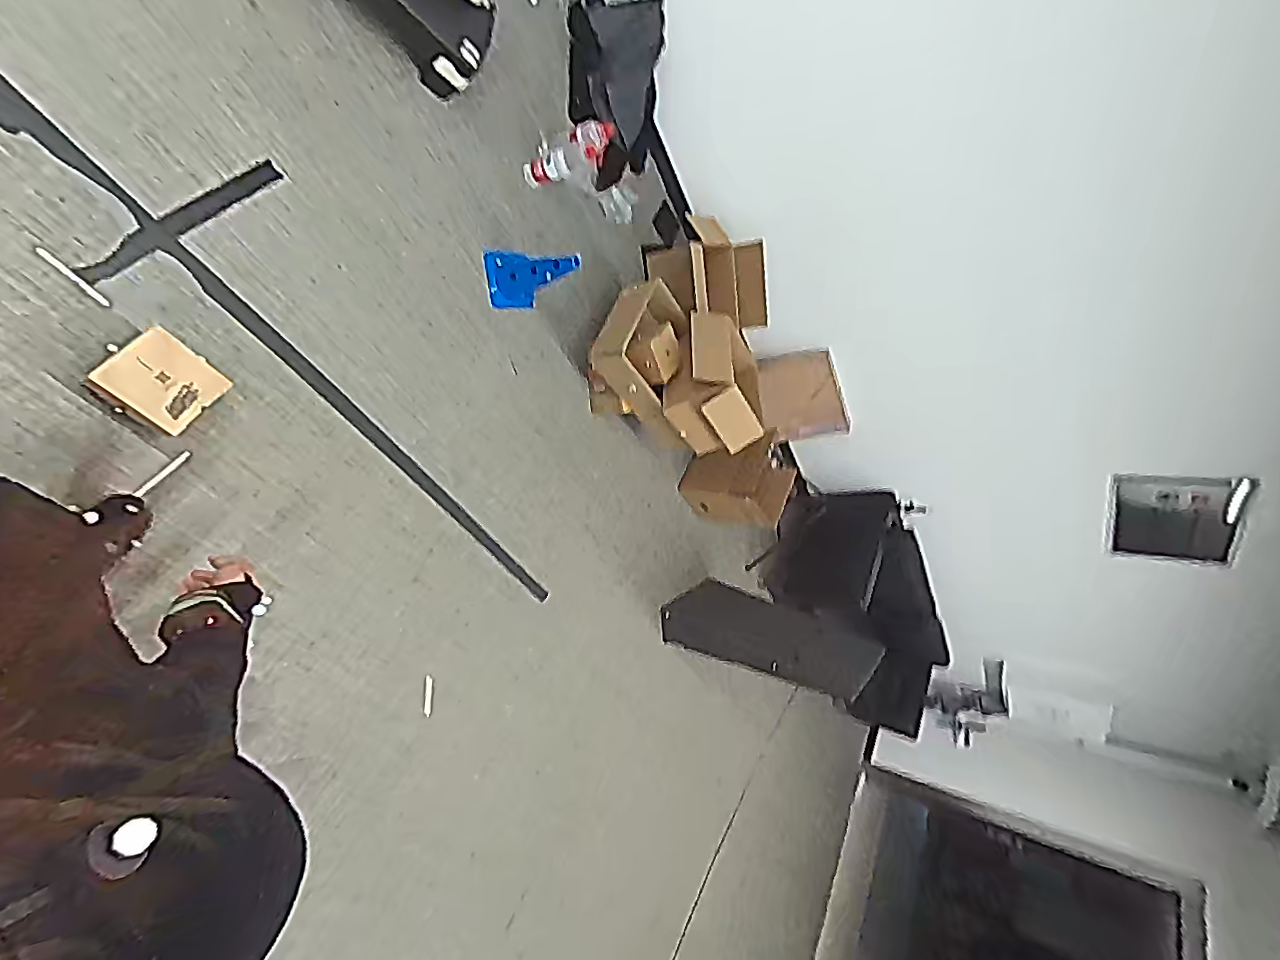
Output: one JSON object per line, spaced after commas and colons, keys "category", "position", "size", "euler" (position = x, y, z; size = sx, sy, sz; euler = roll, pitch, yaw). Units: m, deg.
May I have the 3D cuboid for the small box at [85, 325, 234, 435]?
{"category": "small box", "position": [-1.064, -0.218, 1.200], "size": [0.179, 0.176, 0.168], "euler": [54, 54, -38]}
